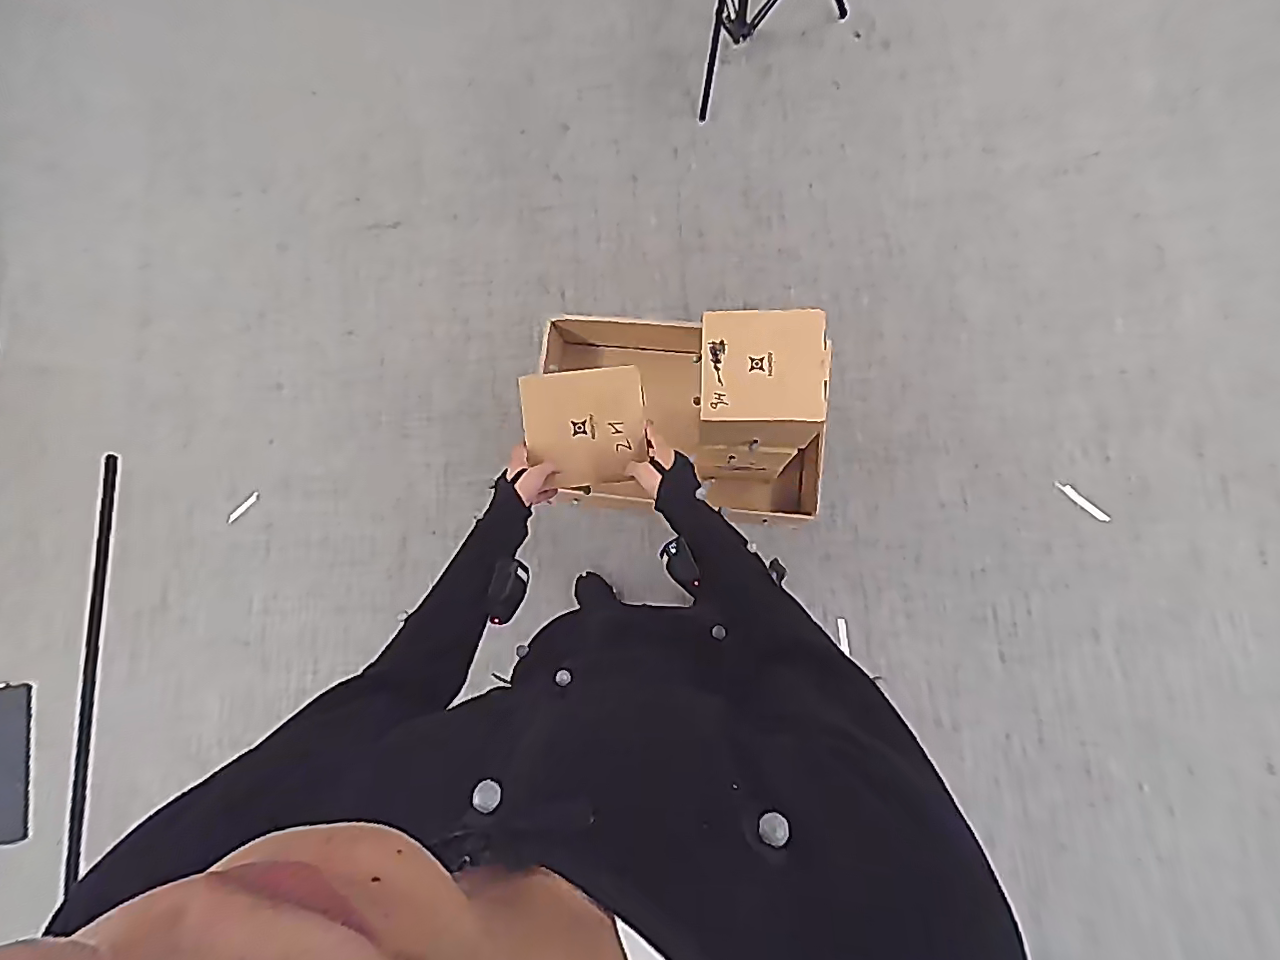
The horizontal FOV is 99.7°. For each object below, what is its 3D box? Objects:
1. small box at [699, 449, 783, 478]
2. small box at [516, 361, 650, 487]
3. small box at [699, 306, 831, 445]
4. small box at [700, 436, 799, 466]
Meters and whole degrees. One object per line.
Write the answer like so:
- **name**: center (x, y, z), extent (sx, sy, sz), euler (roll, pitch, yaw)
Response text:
- **small box**: center (0.216, -0.101, 1.150), extent (0.168, 0.176, 0.179), euler (3, 82, 7)
- **small box**: center (-0.080, -0.081, 0.833), extent (0.179, 0.176, 0.168), euler (-6, 94, -1)
- **small box**: center (0.183, -0.152, 0.830), extent (0.179, 0.176, 0.168), euler (2, 81, 6)
- **small box**: center (0.199, -0.126, 0.991), extent (0.168, 0.176, 0.179), euler (4, 82, 7)
